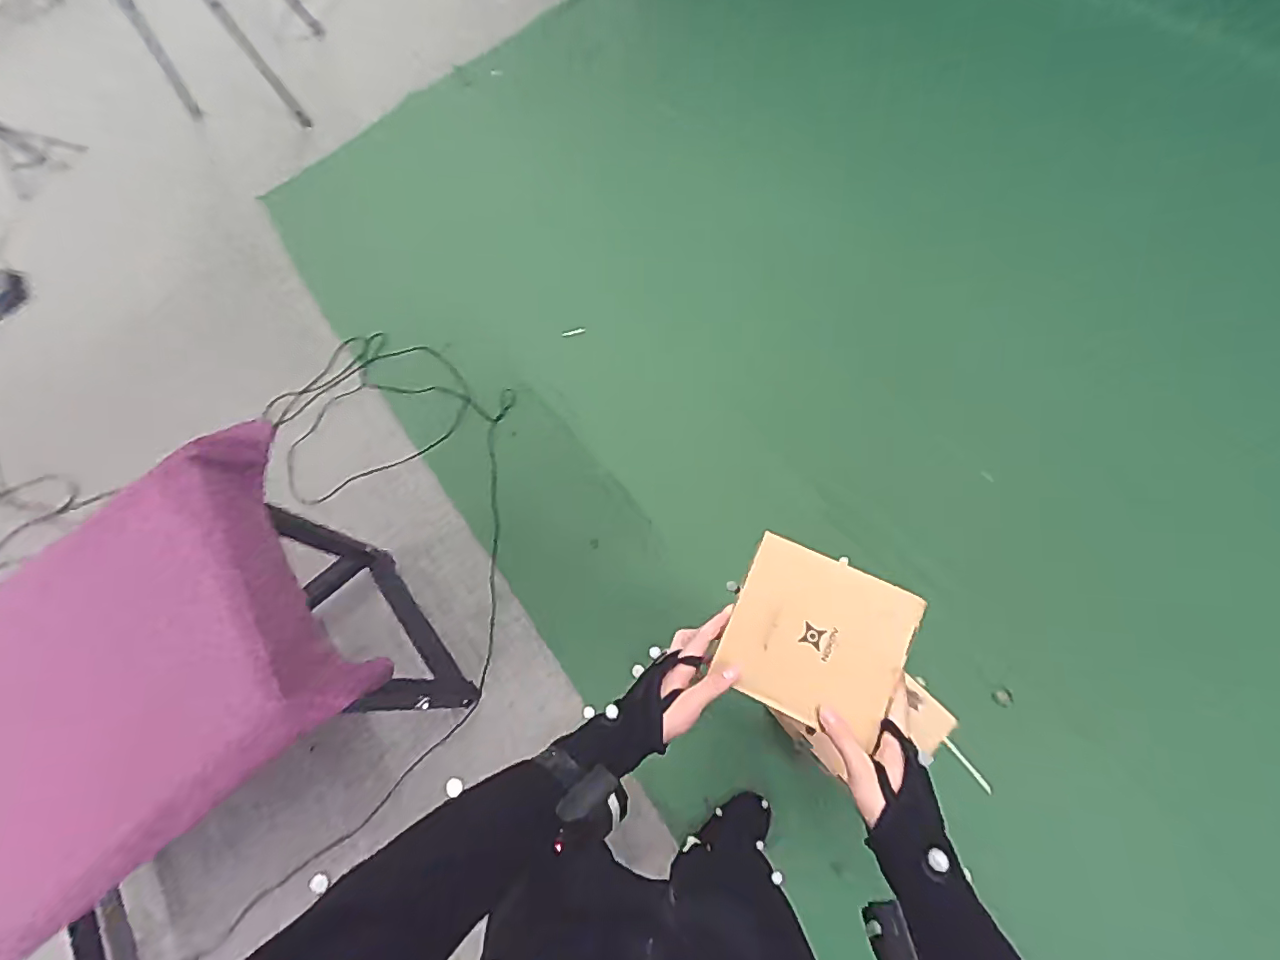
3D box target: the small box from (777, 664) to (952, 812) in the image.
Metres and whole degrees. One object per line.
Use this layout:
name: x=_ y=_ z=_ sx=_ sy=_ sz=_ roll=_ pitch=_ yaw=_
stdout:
small box: x=0.332 y=0.368 z=0.837 sx=0.179 sy=0.176 sz=0.168 roll=-41 pitch=66 yaw=-6

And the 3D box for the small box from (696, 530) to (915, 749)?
small box: x=0.178 y=0.175 z=0.628 sx=0.179 sy=0.176 sz=0.168 roll=23 pitch=80 yaw=13
